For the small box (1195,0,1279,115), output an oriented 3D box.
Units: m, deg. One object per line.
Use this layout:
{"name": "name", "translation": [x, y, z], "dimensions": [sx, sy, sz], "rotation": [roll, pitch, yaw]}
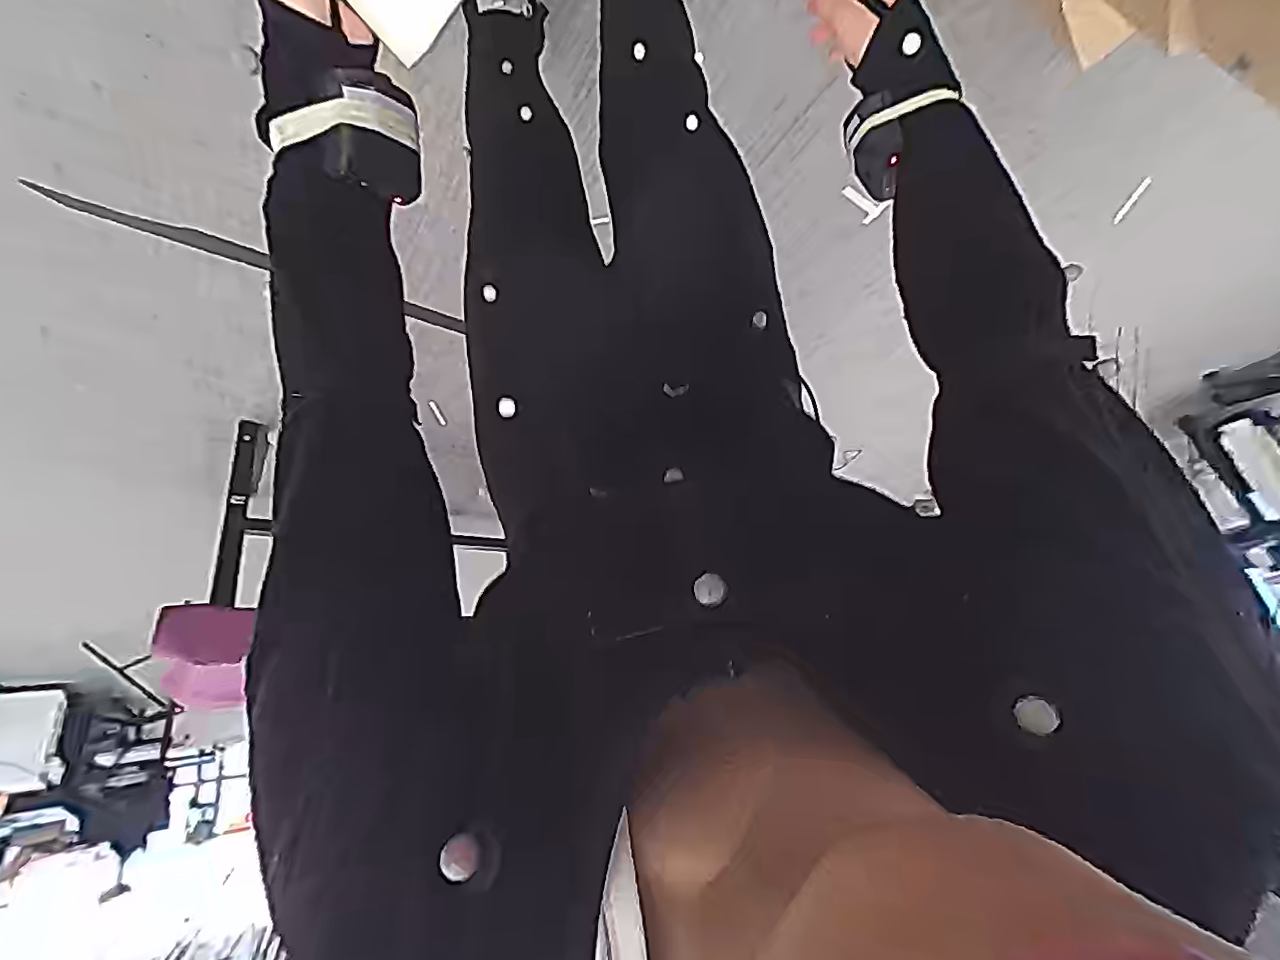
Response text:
{"name": "small box", "translation": [0.716, -0.527, 0.546], "dimensions": [0.179, 0.176, 0.168], "rotation": [14, 143, -40]}
